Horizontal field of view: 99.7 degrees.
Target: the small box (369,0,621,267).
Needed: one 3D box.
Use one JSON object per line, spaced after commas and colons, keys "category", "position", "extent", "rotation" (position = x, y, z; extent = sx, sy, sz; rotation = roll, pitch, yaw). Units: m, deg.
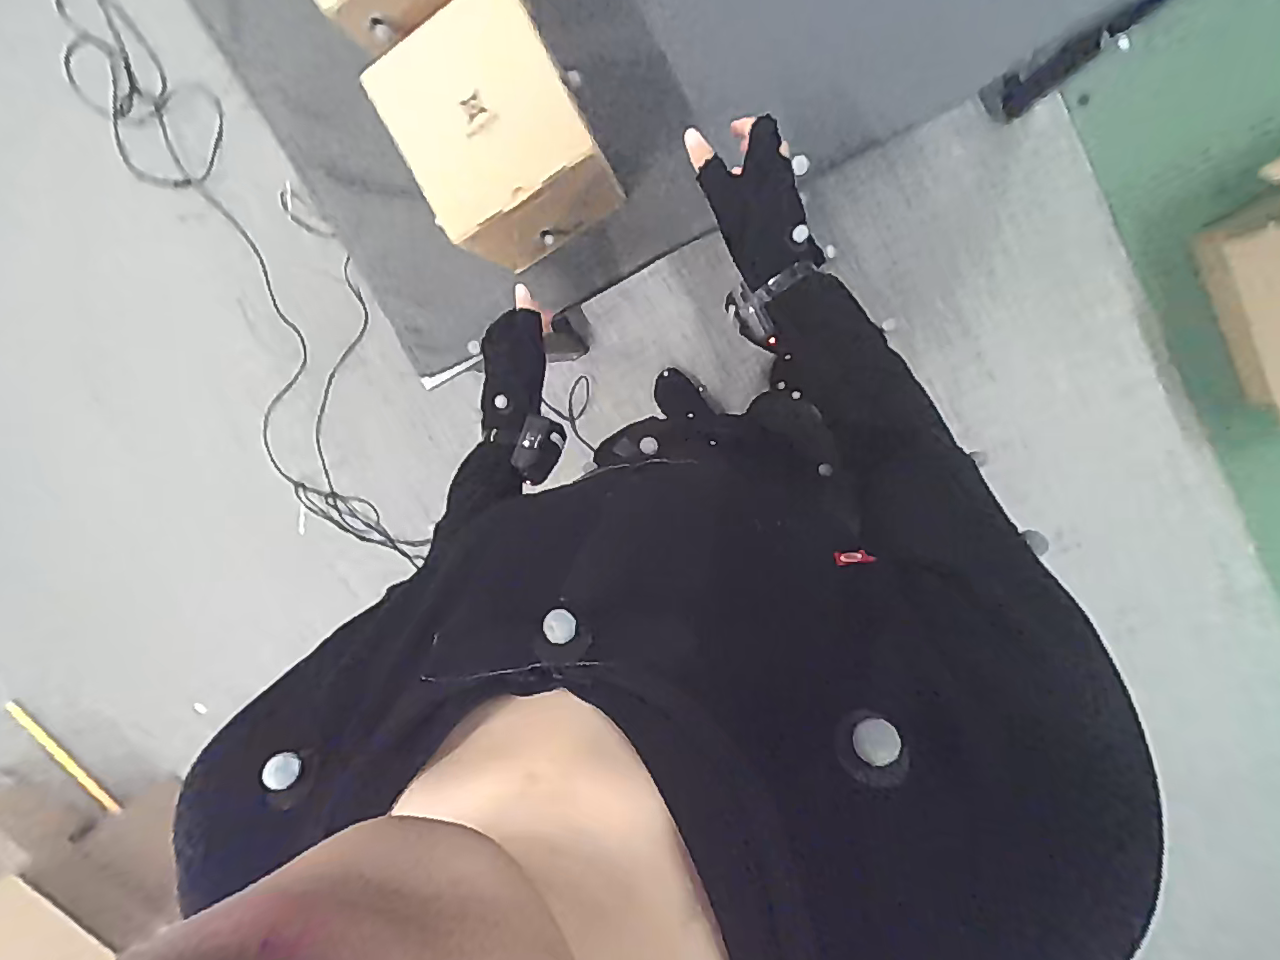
{"category": "small box", "position": [-0.140, -0.362, 0.587], "extent": [0.168, 0.176, 0.179], "rotation": [-28, 97, 13]}
